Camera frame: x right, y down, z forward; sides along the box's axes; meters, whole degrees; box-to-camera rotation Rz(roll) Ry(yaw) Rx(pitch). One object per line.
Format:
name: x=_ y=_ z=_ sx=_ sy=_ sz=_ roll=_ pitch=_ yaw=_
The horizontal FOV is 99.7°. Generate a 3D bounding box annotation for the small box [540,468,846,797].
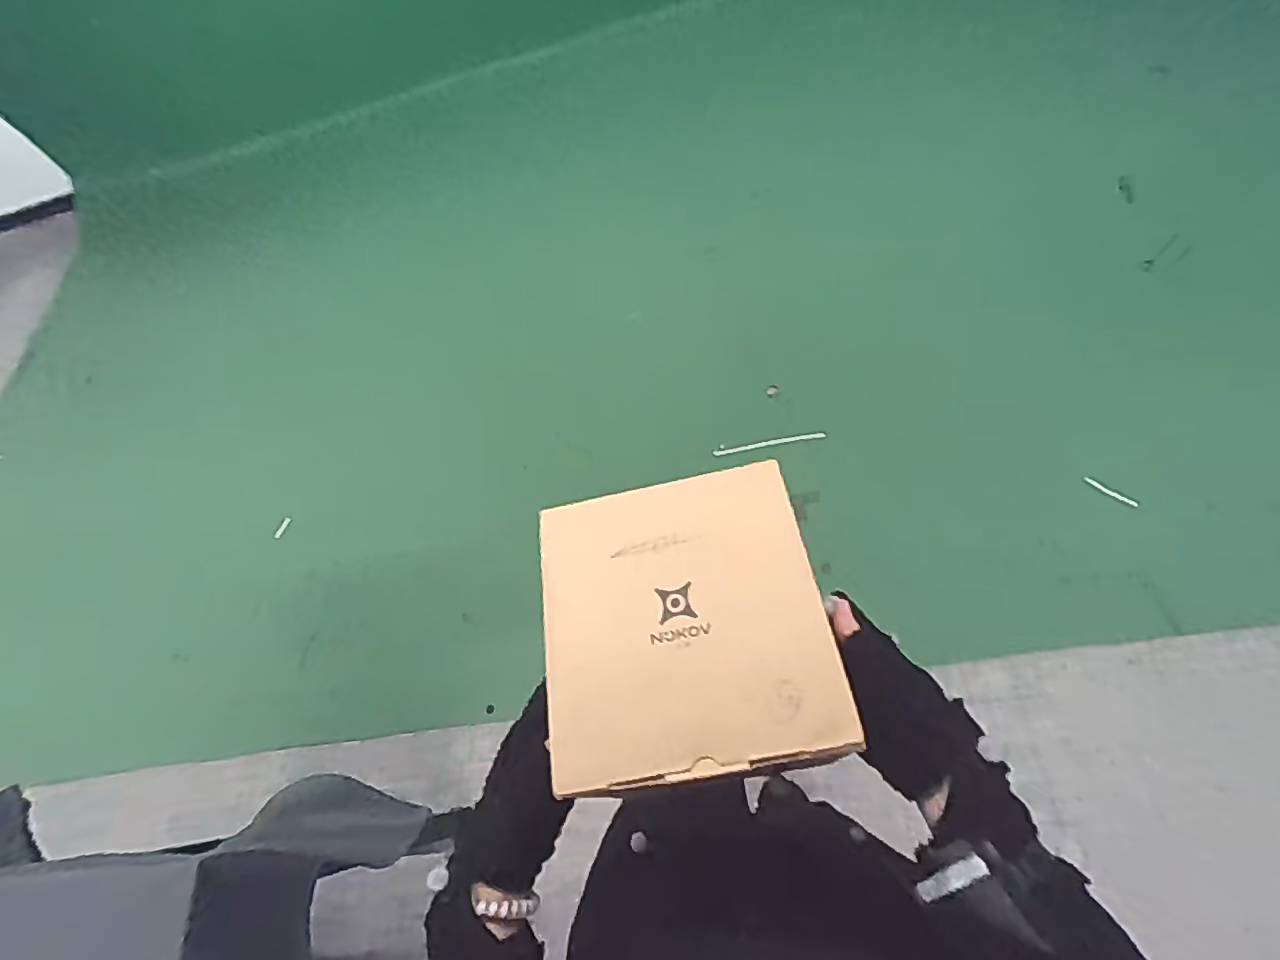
small box: x=0.035 y=0.120 z=0.398 sx=0.168 sy=0.176 sz=0.179 roll=-12 pitch=59 yaw=5
